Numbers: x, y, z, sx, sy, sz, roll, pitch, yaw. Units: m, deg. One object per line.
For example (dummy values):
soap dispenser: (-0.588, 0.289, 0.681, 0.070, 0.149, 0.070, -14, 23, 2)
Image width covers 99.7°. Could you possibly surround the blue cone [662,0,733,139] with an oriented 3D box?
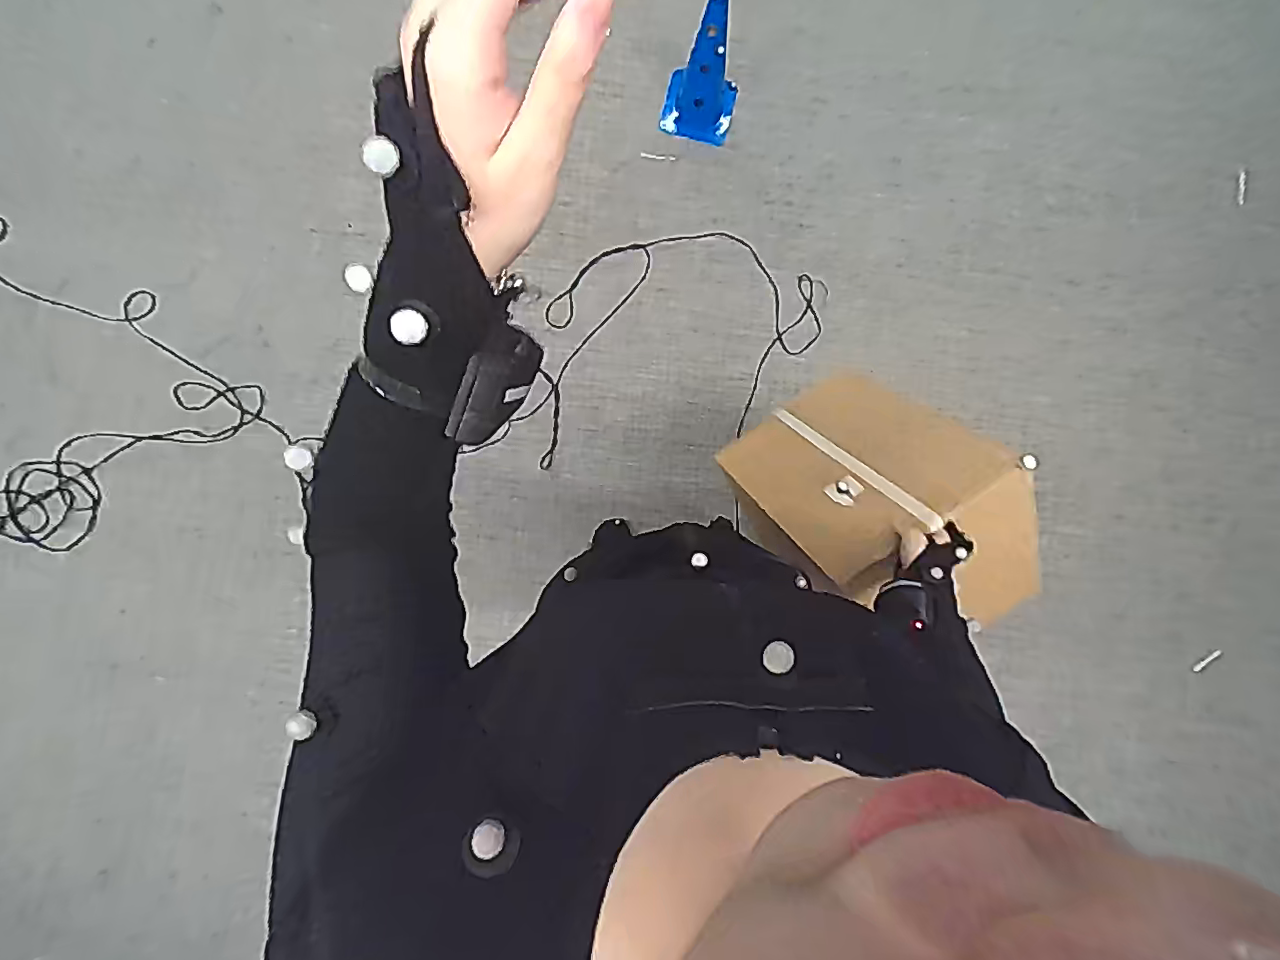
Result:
blue cone: (0.176, -1.119, 1.432, 0.193, 0.380, 0.192, 15, 85, -1)
